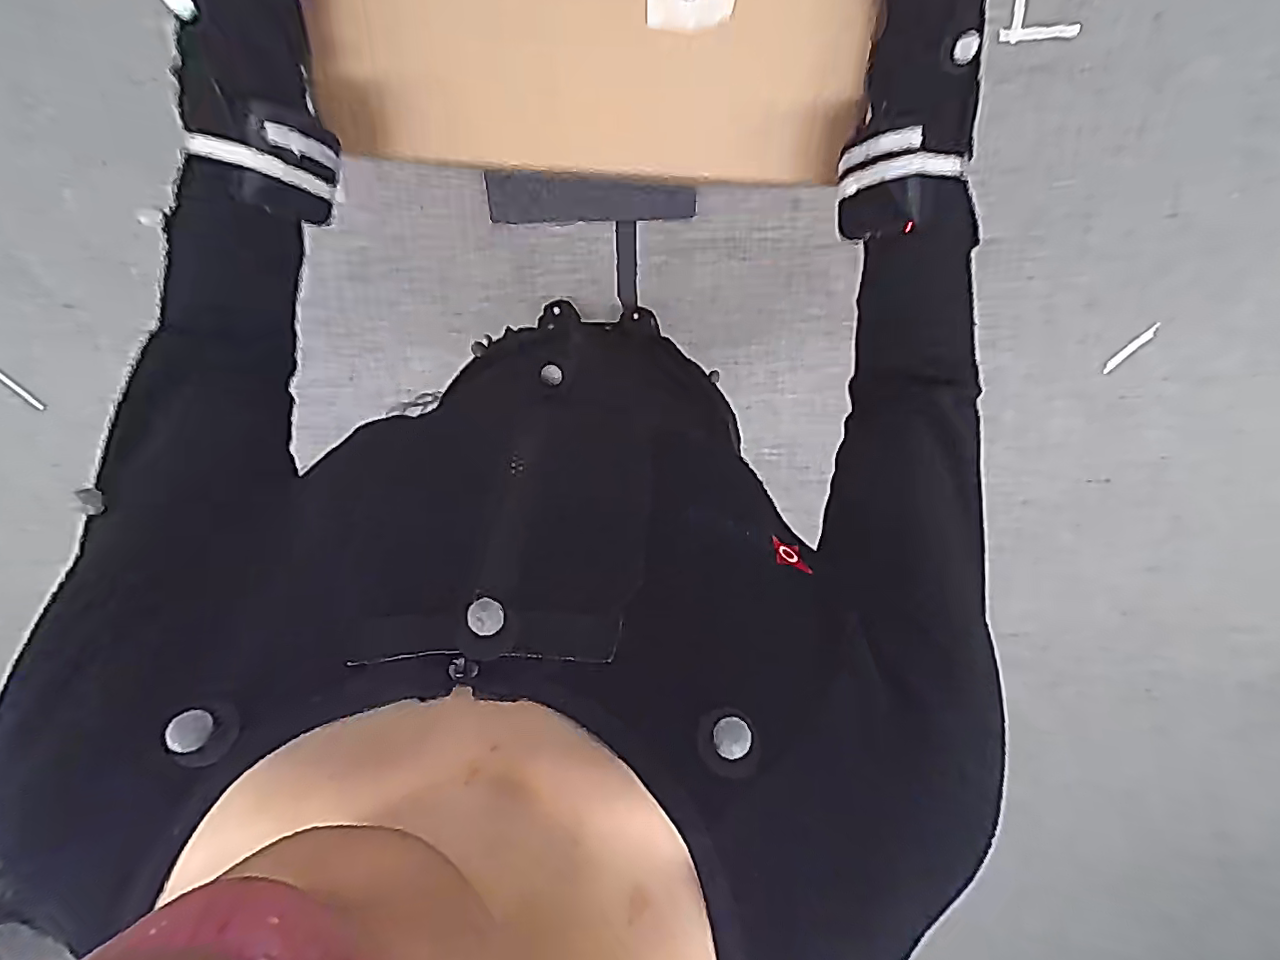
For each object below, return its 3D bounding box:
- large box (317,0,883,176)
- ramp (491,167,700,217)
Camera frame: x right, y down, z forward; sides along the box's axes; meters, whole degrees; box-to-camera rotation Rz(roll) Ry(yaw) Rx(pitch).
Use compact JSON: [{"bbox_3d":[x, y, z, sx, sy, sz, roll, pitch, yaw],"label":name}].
[{"bbox_3d":[-0.026,-0.458,0.481,0.408,0.320,0.320,3,118,-1],"label":"large box"},{"bbox_3d":[-0.114,-1.075,1.057,0.509,0.206,0.991,-4,110,0],"label":"ramp"}]
